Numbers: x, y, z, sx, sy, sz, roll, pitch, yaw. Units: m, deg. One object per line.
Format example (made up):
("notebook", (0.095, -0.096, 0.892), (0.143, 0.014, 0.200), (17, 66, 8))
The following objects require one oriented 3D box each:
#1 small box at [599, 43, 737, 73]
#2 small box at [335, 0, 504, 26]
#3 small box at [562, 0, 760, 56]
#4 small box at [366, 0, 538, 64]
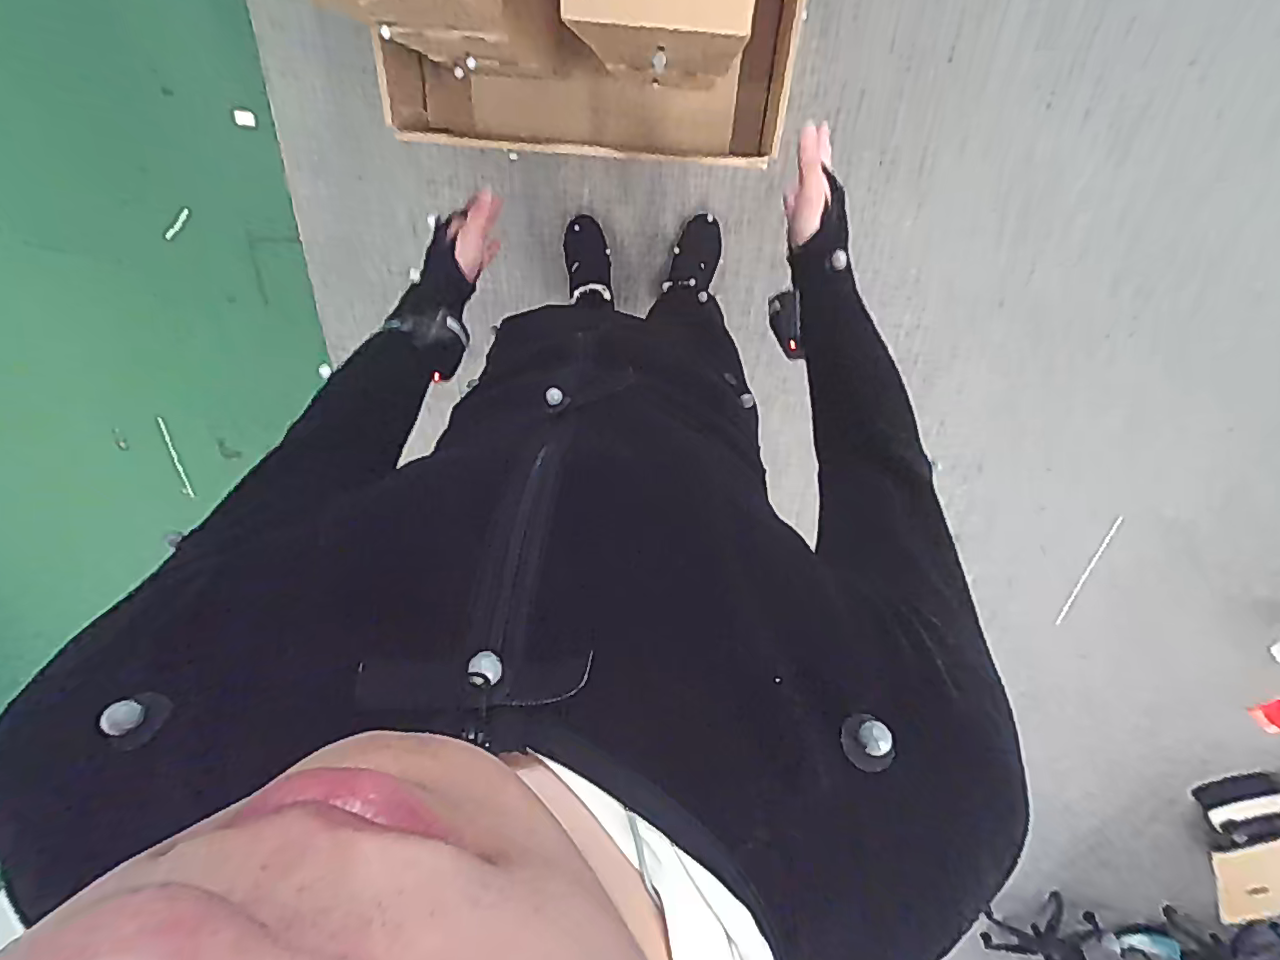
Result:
("small box", (0.038, -0.605, 0.648), (0.179, 0.176, 0.168), (6, 122, -1))
("small box", (-0.230, -0.550, 0.501), (0.168, 0.176, 0.179), (4, 120, 0))
("small box", (0.026, -0.519, 0.510), (0.179, 0.176, 0.168), (6, 122, -1))
("small box", (-0.219, -0.627, 0.646), (0.168, 0.176, 0.179), (6, 121, 0))
